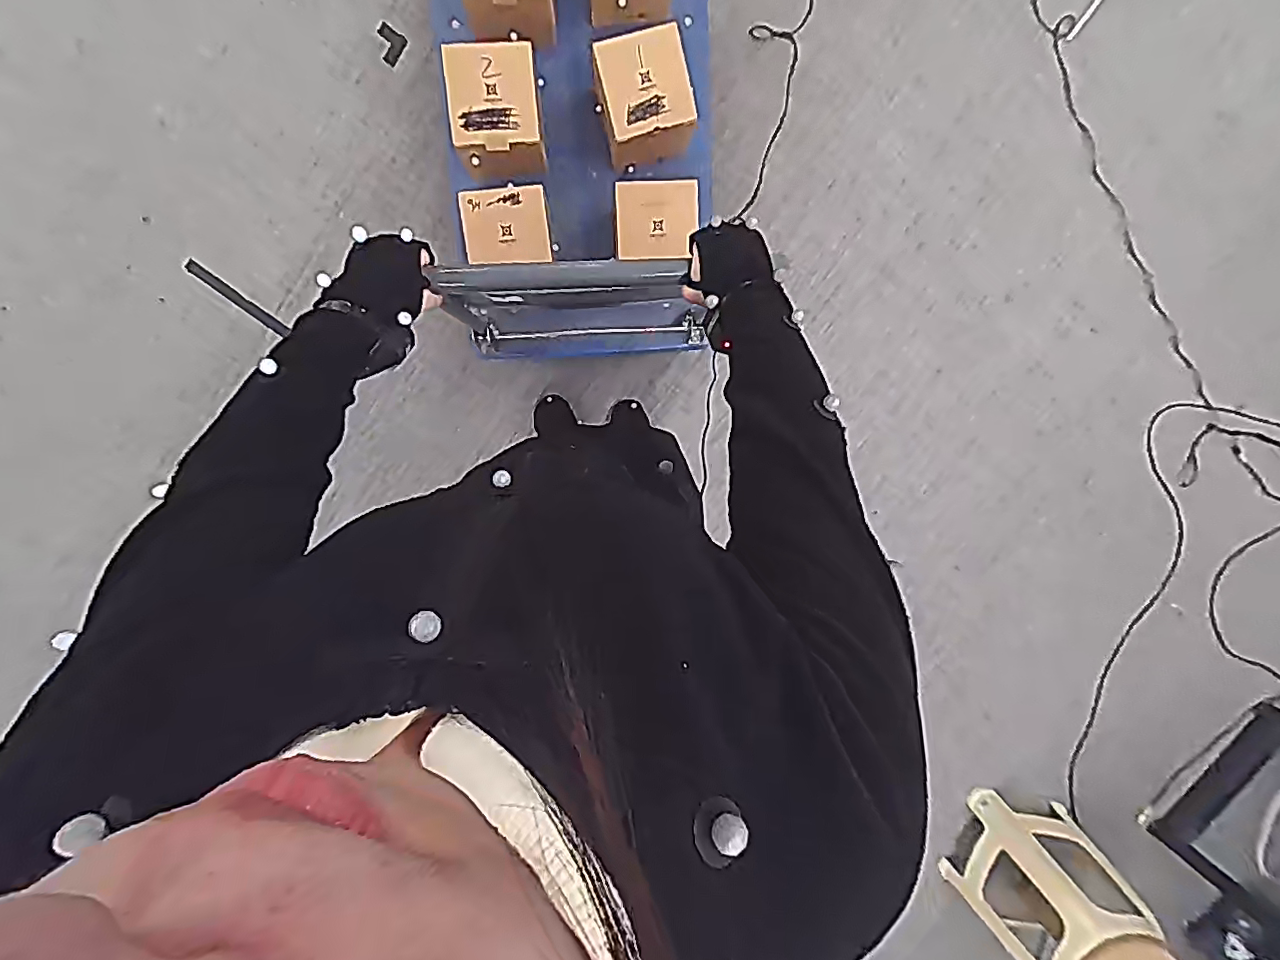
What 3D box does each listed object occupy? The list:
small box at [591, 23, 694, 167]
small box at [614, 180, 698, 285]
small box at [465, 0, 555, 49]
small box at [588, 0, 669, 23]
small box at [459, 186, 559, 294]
[{"bbox_3d":[0.004,-0.770,1.107,0.168,0.176,0.179,-15,100,-1],"label":"small box"},{"bbox_3d":[0.031,-0.518,1.156,0.168,0.176,0.179,-3,100,-4],"label":"small box"},{"bbox_3d":[-0.256,-0.985,1.047,0.168,0.176,0.179,-2,101,-4],"label":"small box"},{"bbox_3d":[-0.027,-1.036,1.056,0.168,0.176,0.179,-7,101,-3],"label":"small box"},{"bbox_3d":[-0.266,-0.494,1.138,0.168,0.176,0.179,-7,101,-3],"label":"small box"}]
